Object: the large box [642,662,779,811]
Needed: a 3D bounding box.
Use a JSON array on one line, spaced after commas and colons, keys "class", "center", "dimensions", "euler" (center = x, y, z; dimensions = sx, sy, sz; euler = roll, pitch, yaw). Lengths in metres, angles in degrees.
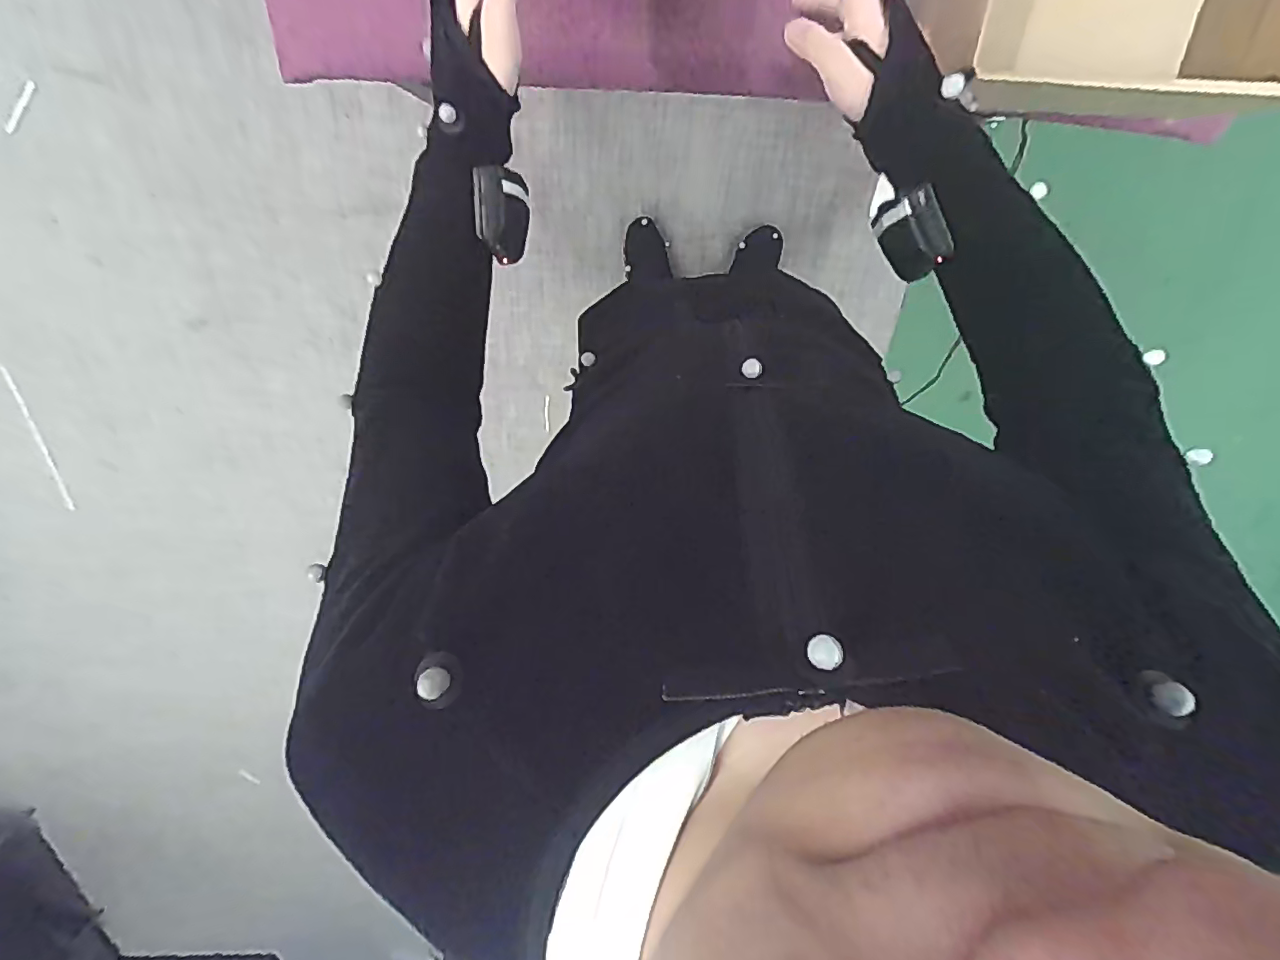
[{"class": "large box", "center": [0.255, 0.974, 2.069], "dimensions": [0.408, 0.320, 0.320], "euler": [-27, 115, 10]}]
